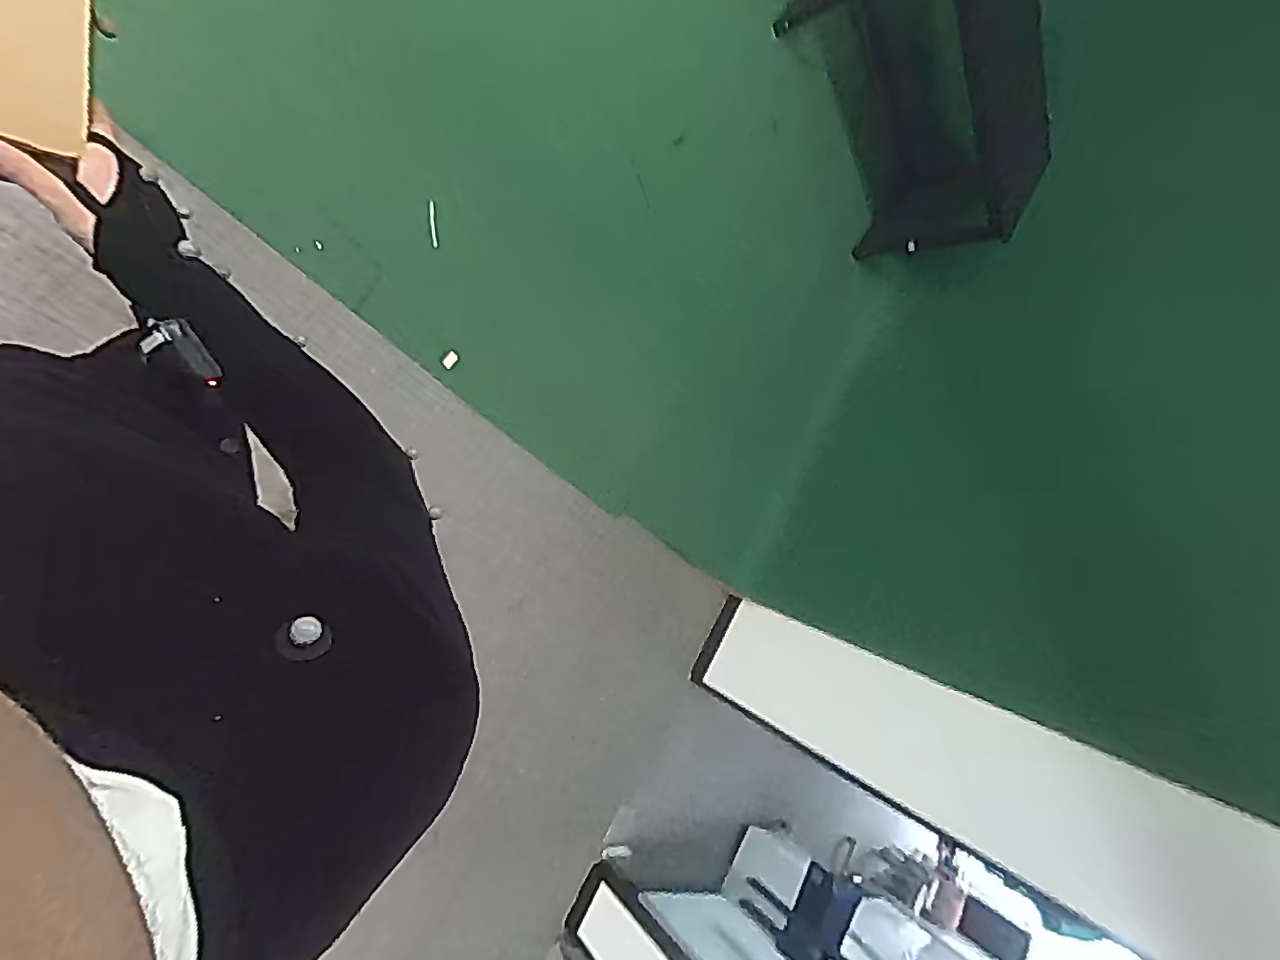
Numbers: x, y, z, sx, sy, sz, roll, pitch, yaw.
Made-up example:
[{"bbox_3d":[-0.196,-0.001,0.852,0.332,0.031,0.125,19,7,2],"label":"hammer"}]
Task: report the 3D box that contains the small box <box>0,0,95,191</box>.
[{"bbox_3d":[-0.557,-0.363,0.433,0.168,0.176,0.179,0,101,-46],"label":"small box"}]
